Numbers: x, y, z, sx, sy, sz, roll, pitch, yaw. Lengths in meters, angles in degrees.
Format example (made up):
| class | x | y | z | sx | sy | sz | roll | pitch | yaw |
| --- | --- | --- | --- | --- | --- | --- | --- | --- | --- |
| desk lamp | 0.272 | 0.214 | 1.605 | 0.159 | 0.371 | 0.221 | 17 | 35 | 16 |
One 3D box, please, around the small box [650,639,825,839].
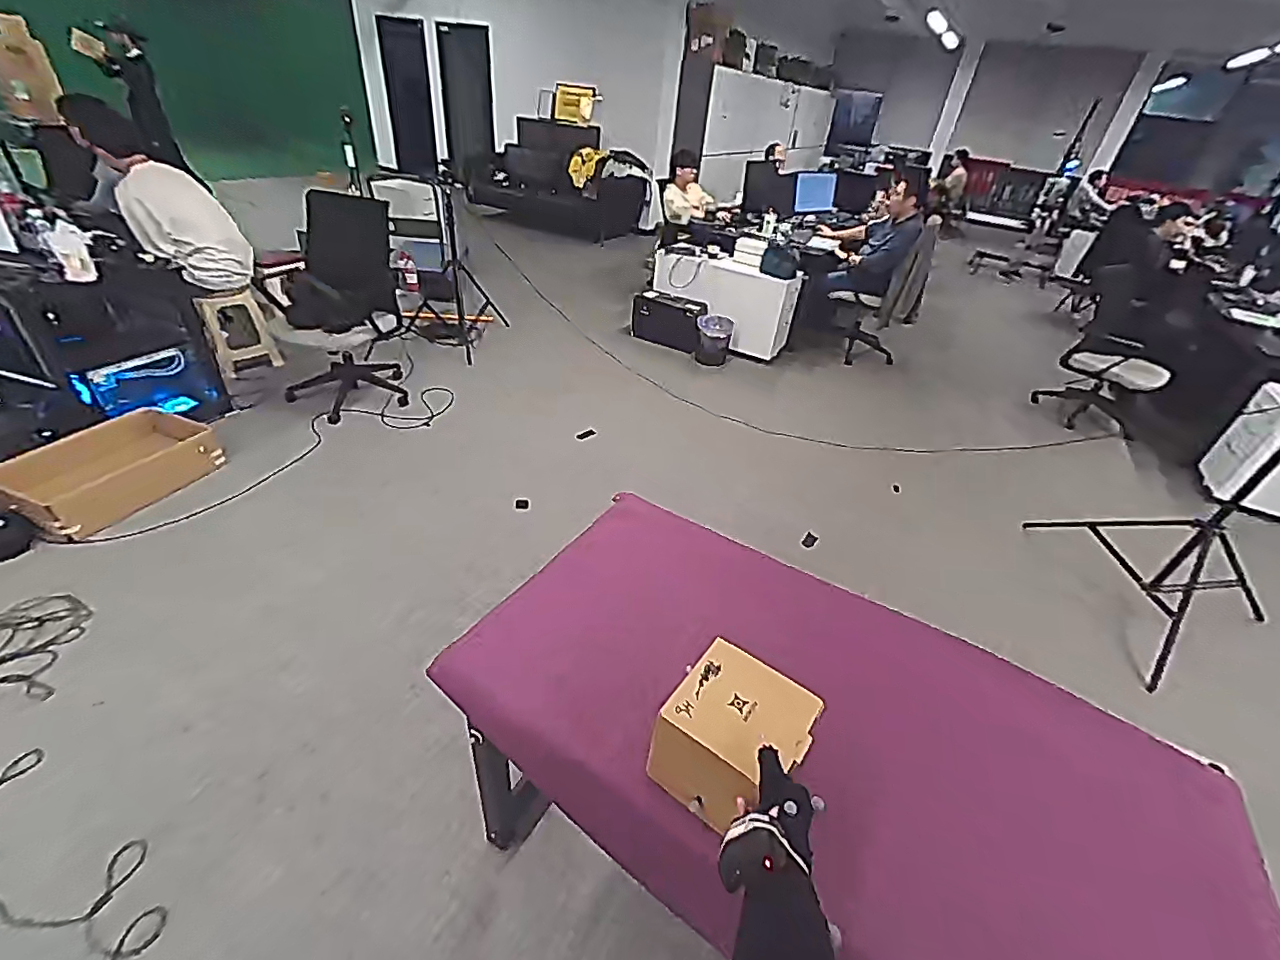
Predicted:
| class | x | y | z | sx | sy | sz | roll | pitch | yaw |
| --- | --- | --- | --- | --- | --- | --- | --- | --- | --- |
| small box | 0.134 | 0.376 | 0.783 | 0.179 | 0.176 | 0.168 | 27 | 40 | 26 |
